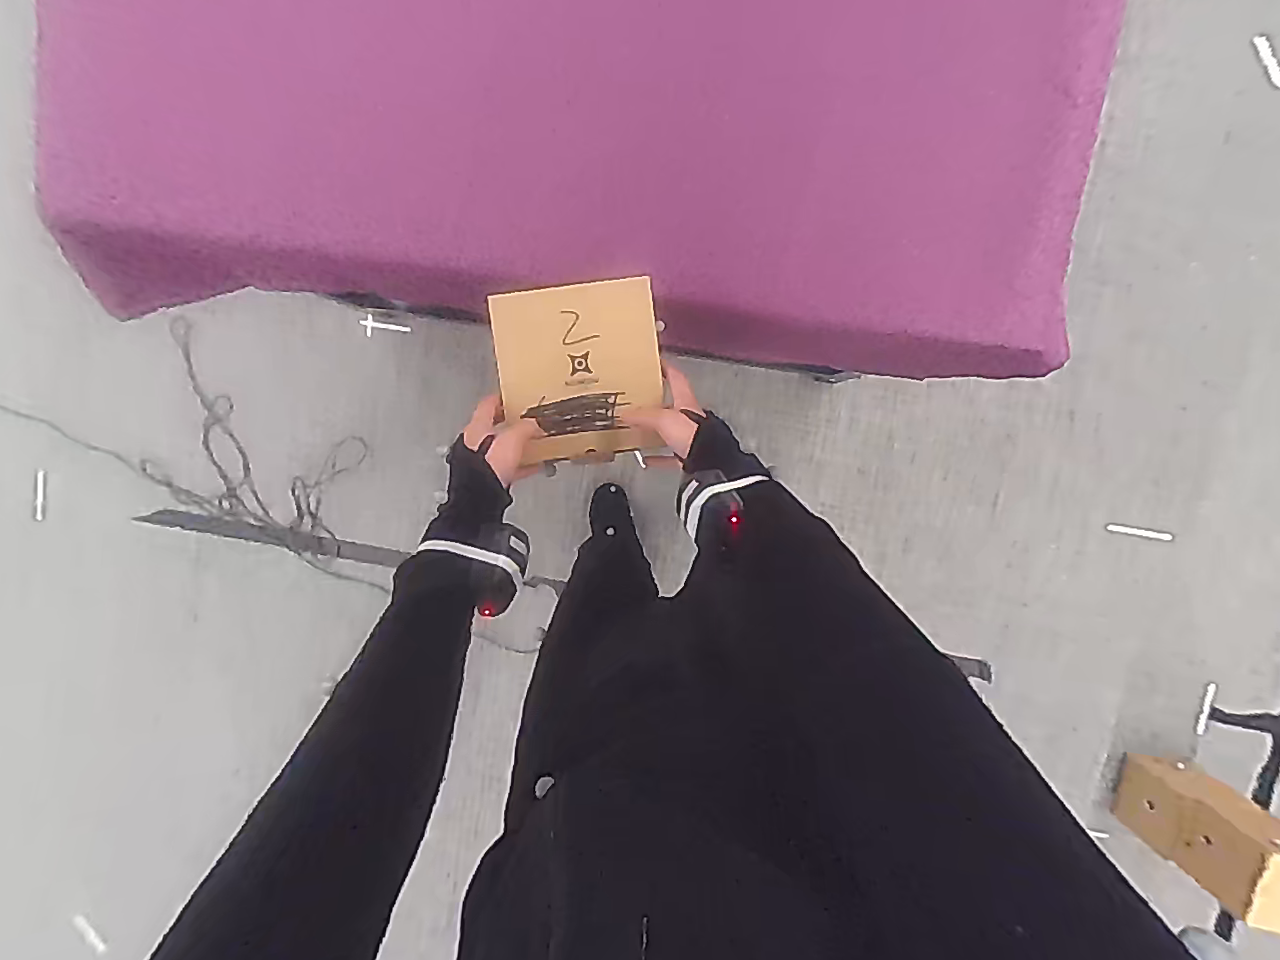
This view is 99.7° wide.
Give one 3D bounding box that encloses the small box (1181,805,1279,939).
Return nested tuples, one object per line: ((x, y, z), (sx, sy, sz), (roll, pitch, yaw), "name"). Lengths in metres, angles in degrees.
((1.318, 0.823, 1.134), (0.179, 0.176, 0.168), (11, 97, 4), "small box")

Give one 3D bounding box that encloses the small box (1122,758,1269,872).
((1.316, 0.807, 1.297), (0.168, 0.176, 0.179), (7, 96, 3), "small box")
